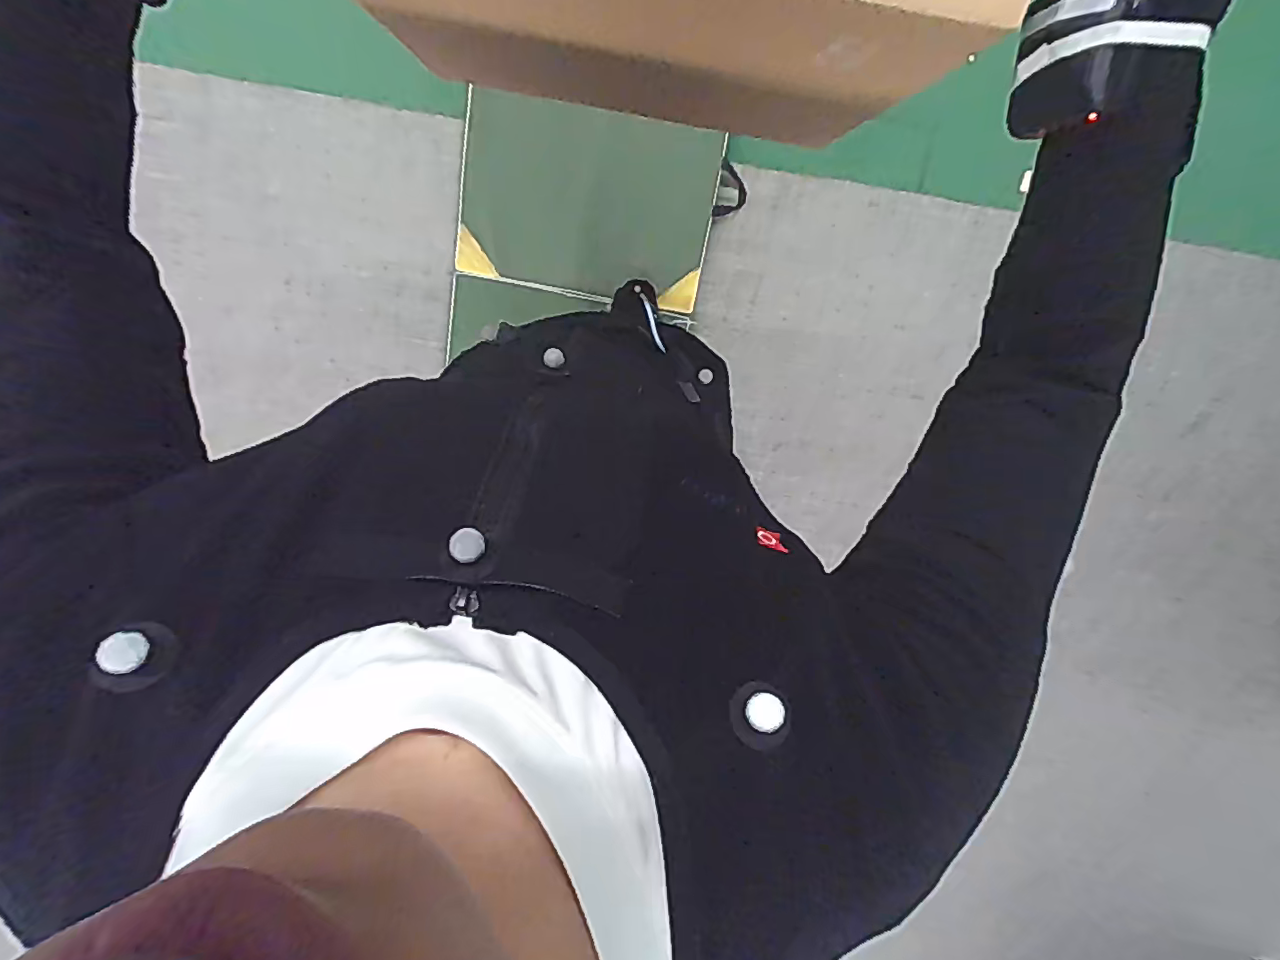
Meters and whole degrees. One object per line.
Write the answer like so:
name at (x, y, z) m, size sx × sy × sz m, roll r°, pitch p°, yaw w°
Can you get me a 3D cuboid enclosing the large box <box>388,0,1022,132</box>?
large box at (0.026, -0.469, 0.358) m, size 0.408 × 0.320 × 0.320 m, roll 7°, pitch 112°, yaw -5°
